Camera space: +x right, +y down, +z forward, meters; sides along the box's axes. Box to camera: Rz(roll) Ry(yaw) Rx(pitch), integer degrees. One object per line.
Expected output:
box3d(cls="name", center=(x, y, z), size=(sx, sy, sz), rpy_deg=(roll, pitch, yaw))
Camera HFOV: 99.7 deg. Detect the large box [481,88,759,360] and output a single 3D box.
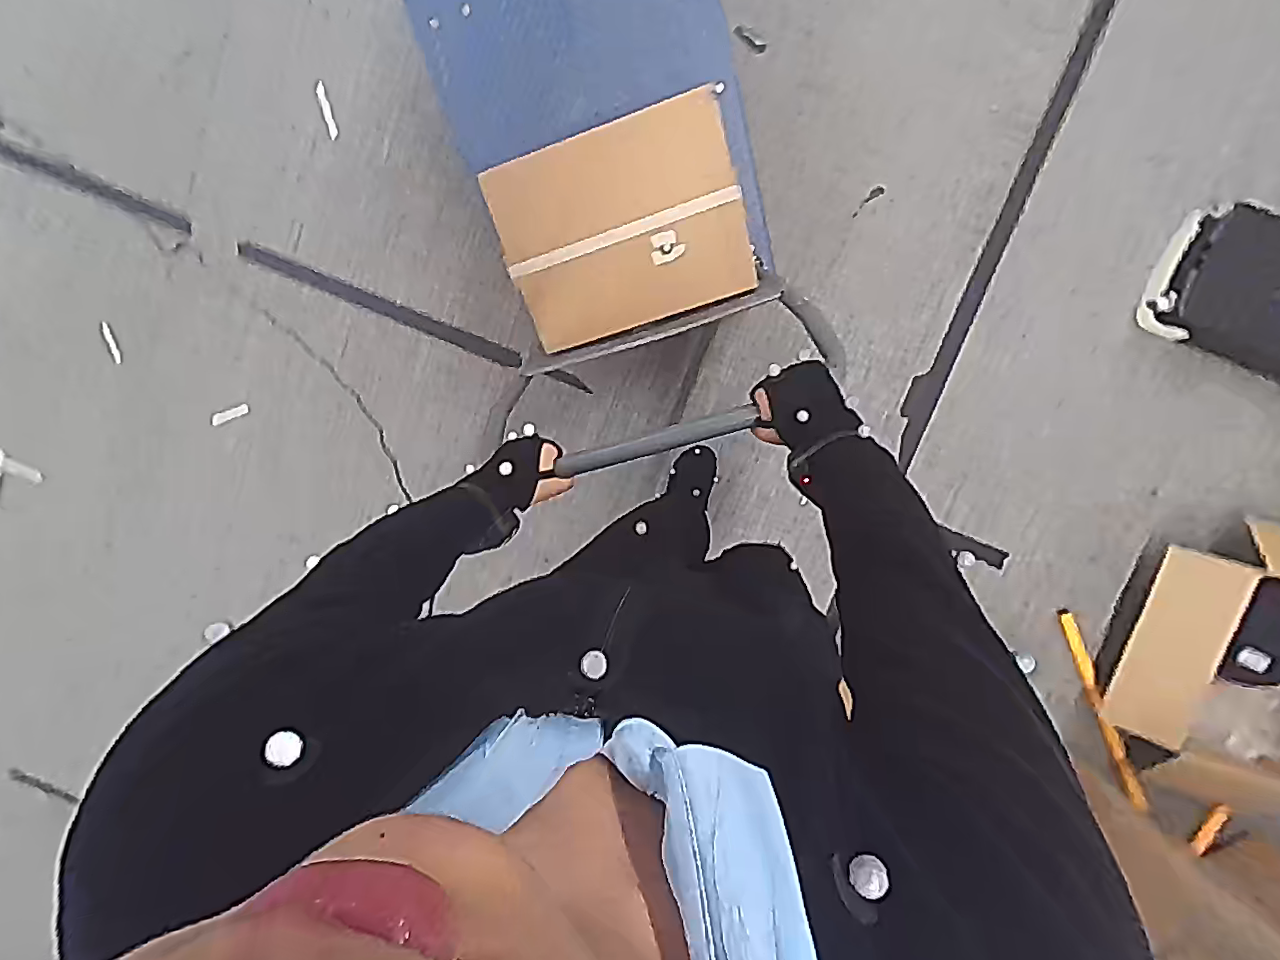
box3d(cls="large box", center=(-0.025, -0.466, 1.041), size=(0.408, 0.320, 0.320), rpy_deg=(-16, 114, 9))
